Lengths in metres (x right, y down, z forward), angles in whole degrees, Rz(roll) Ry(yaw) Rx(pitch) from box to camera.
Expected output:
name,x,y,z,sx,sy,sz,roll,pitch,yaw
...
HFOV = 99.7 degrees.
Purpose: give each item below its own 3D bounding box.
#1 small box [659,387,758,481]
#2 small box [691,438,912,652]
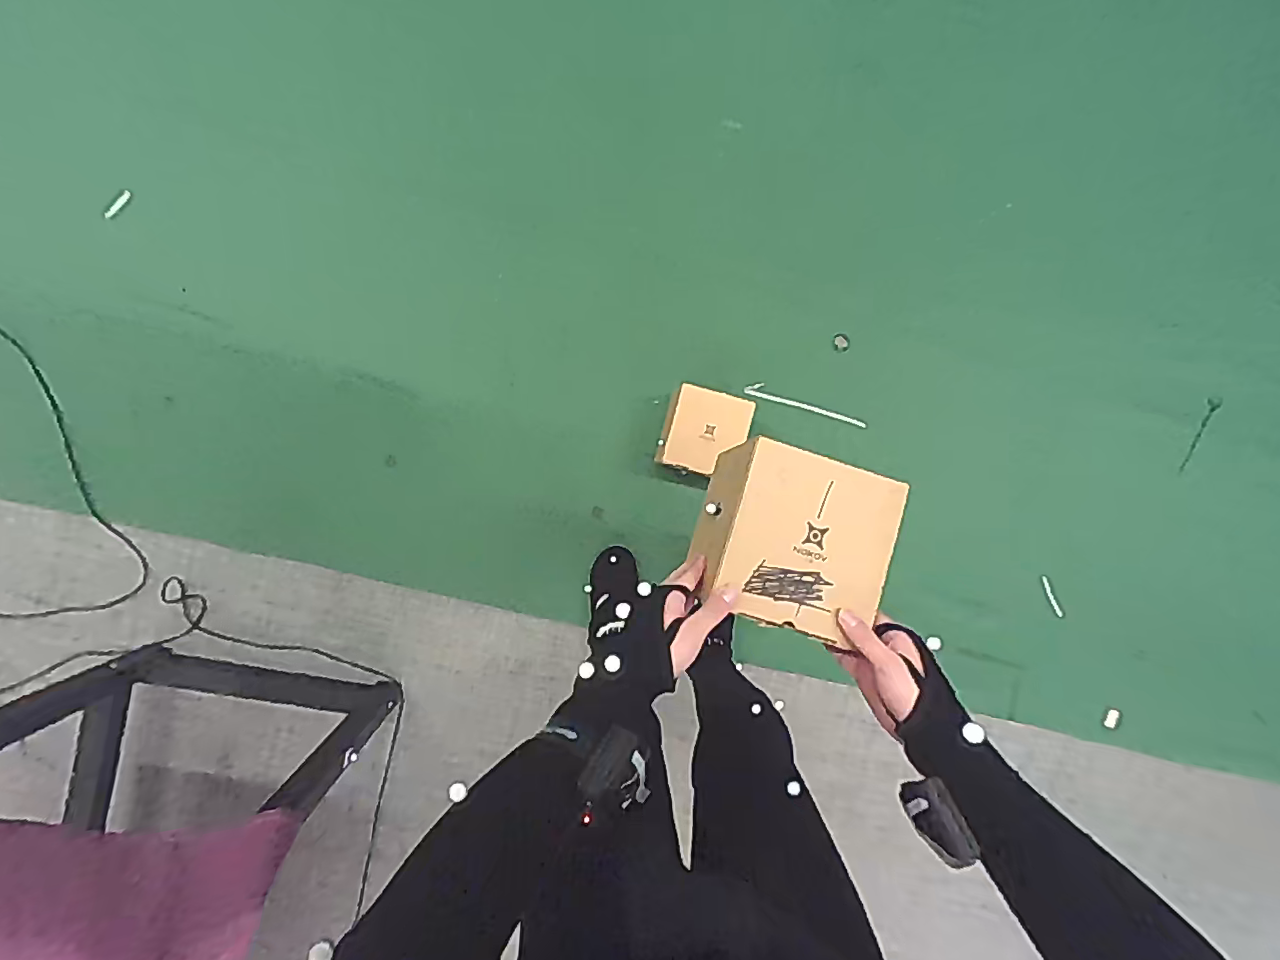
name,x,y,z,sx,sy,sz,roll,pitch,yaw
small box,0.146,-0.096,1.224,0.168,0.176,0.179,15,92,-5
small box,0.165,0.069,0.611,0.168,0.176,0.179,17,84,-5
